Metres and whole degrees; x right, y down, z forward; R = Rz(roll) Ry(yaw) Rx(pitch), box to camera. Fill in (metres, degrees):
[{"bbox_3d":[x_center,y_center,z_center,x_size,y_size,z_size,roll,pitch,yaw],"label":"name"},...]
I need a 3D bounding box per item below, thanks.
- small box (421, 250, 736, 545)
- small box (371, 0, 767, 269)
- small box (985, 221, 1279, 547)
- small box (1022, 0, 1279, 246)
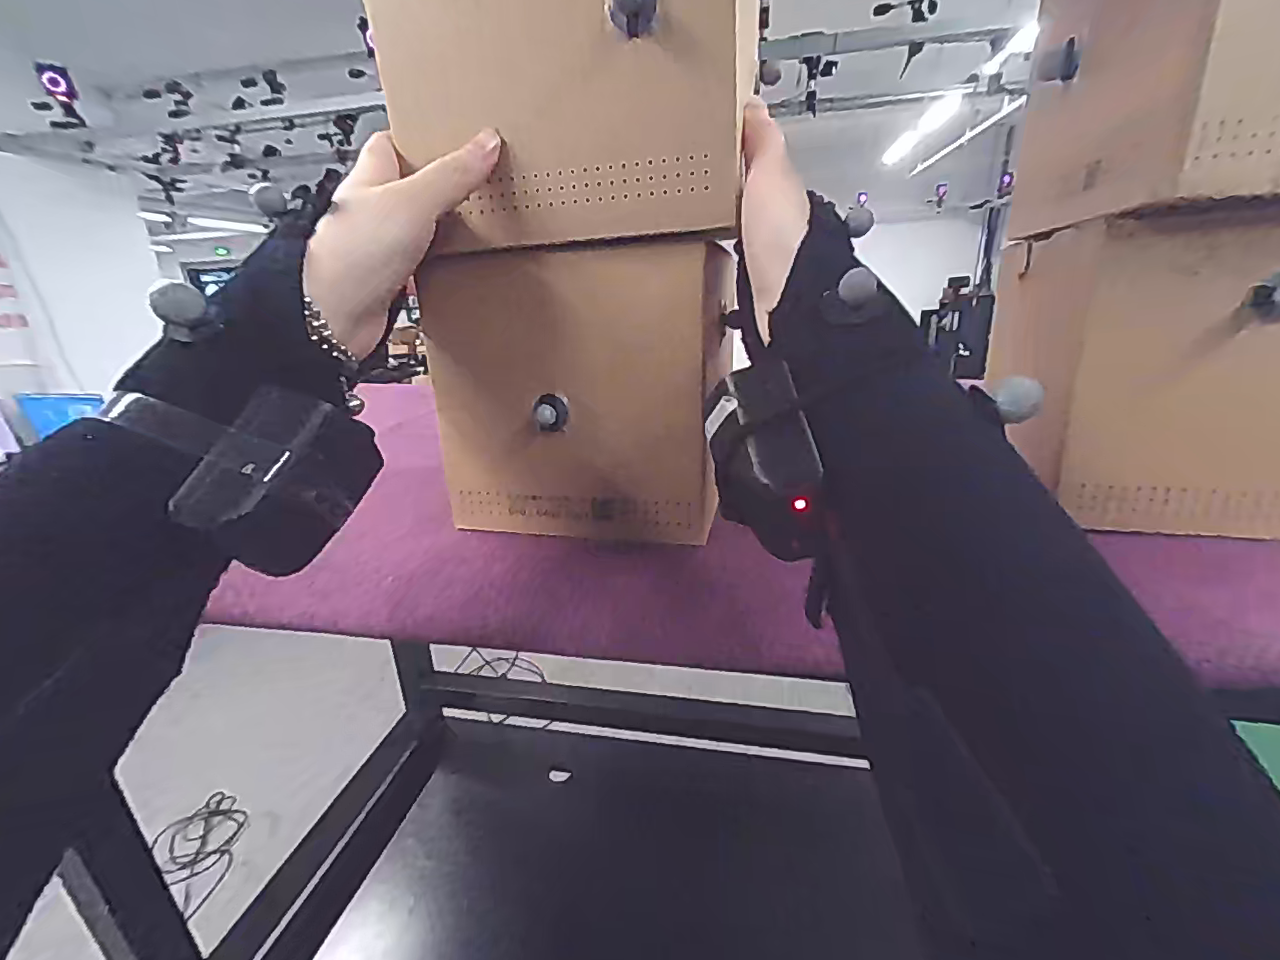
[{"bbox_3d":[-0.022,-0.066,0.386,0.168,0.176,0.179,4,20,13],"label":"small box"},{"bbox_3d":[-0.019,-0.216,0.312,0.179,0.176,0.168,1,22,15],"label":"small box"},{"bbox_3d":[0.338,-0.065,0.339,0.179,0.176,0.168,3,19,17],"label":"small box"},{"bbox_3d":[0.326,-0.214,0.275,0.179,0.176,0.168,2,19,13],"label":"small box"}]
